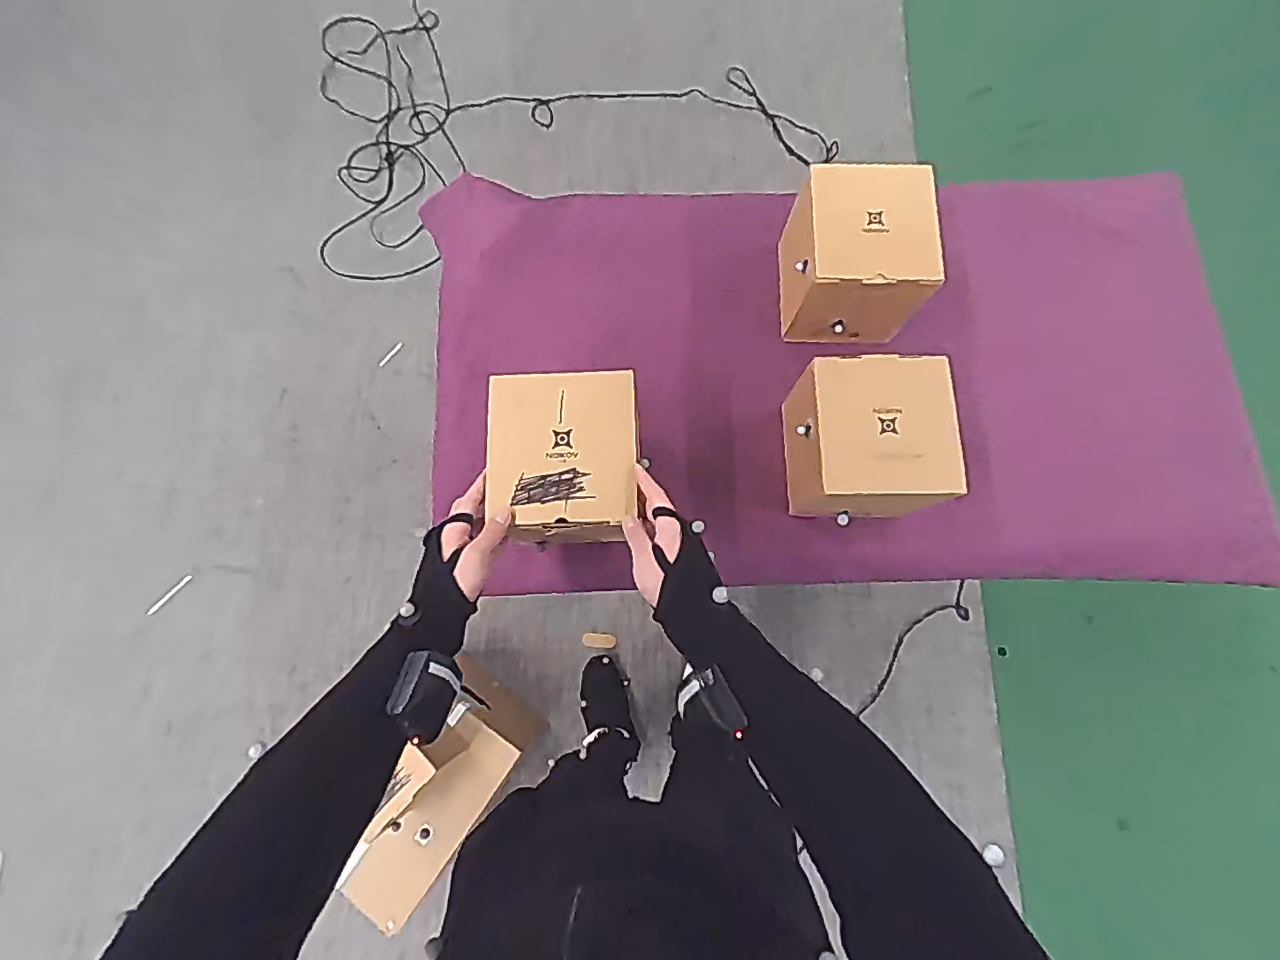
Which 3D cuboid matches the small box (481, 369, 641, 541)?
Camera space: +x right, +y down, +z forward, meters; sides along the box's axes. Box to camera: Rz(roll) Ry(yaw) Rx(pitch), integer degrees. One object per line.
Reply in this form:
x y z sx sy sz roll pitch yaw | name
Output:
-0.085 -0.019 0.661 0.168 0.176 0.179 -2 76 1 | small box

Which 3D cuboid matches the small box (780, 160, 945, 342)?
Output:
0.302 -0.316 0.770 0.168 0.176 0.179 1 79 0 | small box

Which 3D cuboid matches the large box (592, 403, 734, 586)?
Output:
0.048 0.054 1.367 0.320 0.320 0.408 -1 76 0 | large box

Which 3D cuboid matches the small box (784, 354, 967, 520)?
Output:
0.291 -0.048 0.709 0.168 0.176 0.179 0 77 2 | small box
